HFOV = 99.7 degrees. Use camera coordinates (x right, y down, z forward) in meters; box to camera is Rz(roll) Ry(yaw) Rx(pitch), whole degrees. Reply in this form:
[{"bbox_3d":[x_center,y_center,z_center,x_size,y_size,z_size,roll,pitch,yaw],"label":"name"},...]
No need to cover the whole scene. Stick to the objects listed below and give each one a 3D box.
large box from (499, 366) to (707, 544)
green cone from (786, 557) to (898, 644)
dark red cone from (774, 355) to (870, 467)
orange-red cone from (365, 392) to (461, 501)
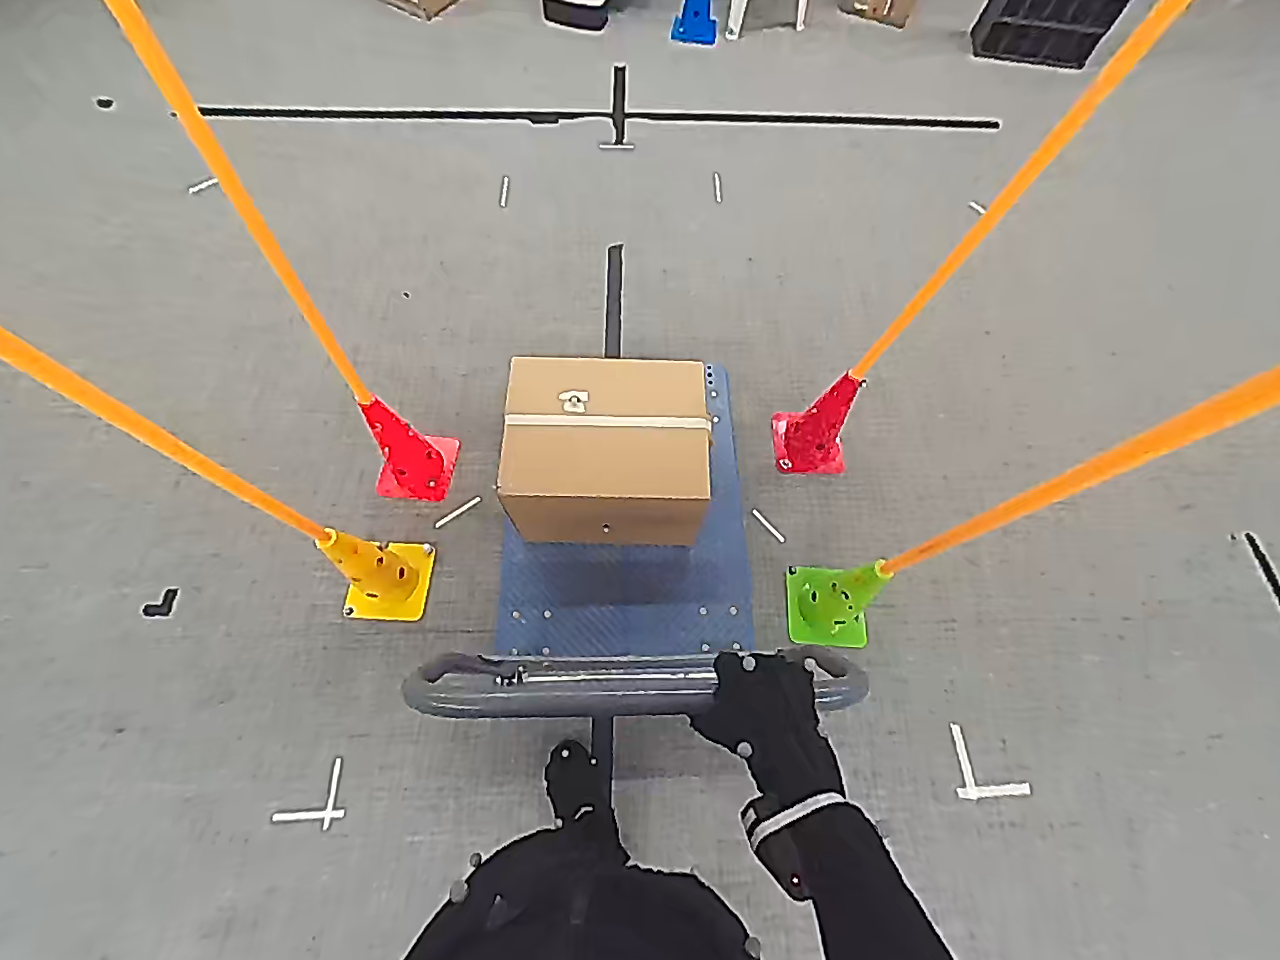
[{"bbox_3d":[-0.071,-0.042,1.220,0.408,0.320,0.320,1,67,-1],"label":"large box"},{"bbox_3d":[0.493,0.253,1.261,0.202,0.368,0.200,4,66,-1],"label":"green cone"},{"bbox_3d":[0.510,-0.197,1.444,0.201,0.394,0.202,1,66,-3],"label":"dark red cone"},{"bbox_3d":[-0.620,-0.113,1.392,0.198,0.360,0.199,7,64,0],"label":"orange-red cone"}]
